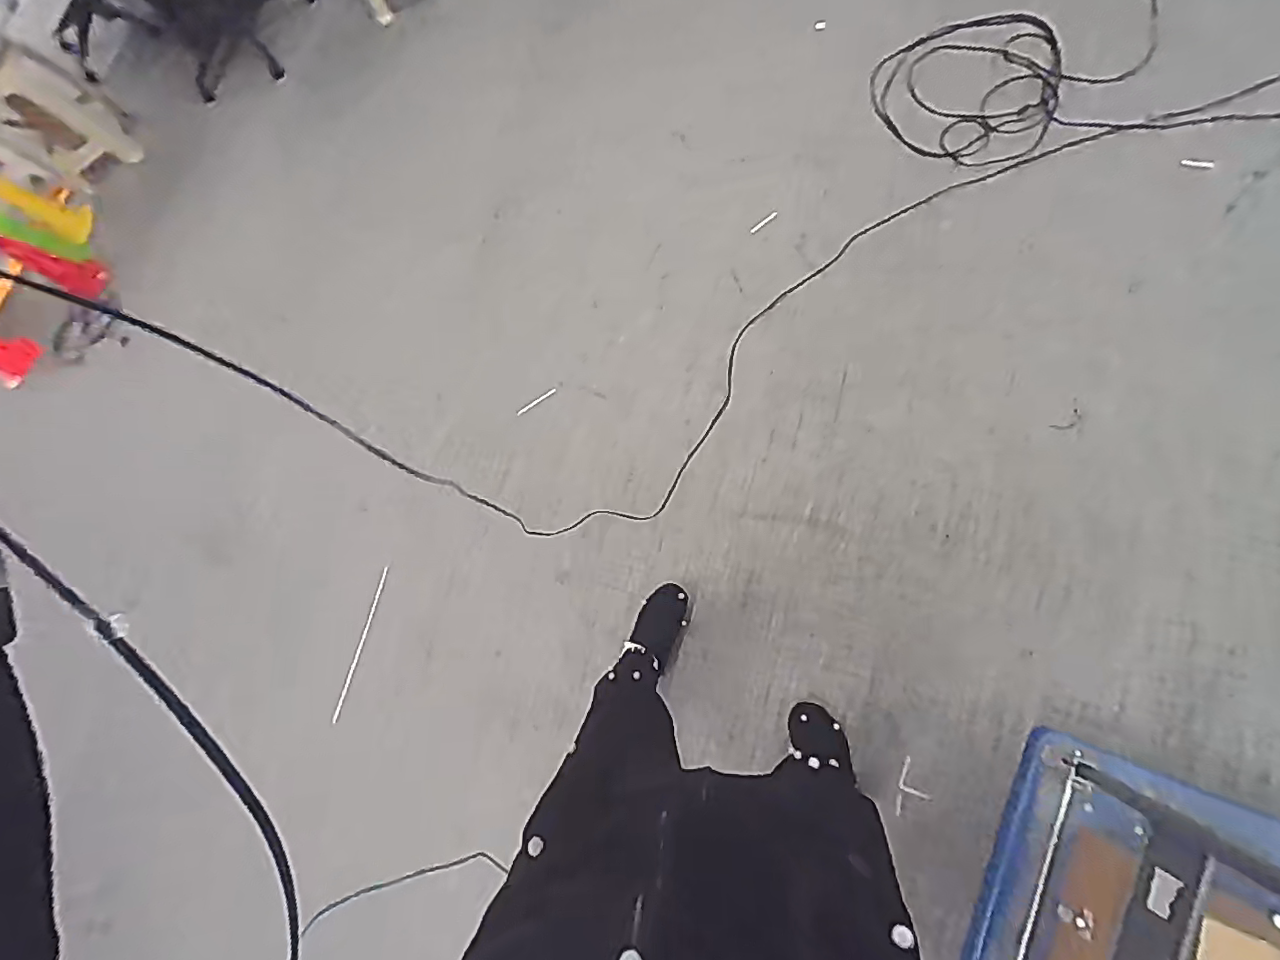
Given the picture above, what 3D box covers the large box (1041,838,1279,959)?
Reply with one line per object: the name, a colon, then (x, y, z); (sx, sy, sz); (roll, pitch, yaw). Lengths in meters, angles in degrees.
large box: (0.906, 0.832, 0.805); (0.408, 0.320, 0.320); (19, 82, 17)
